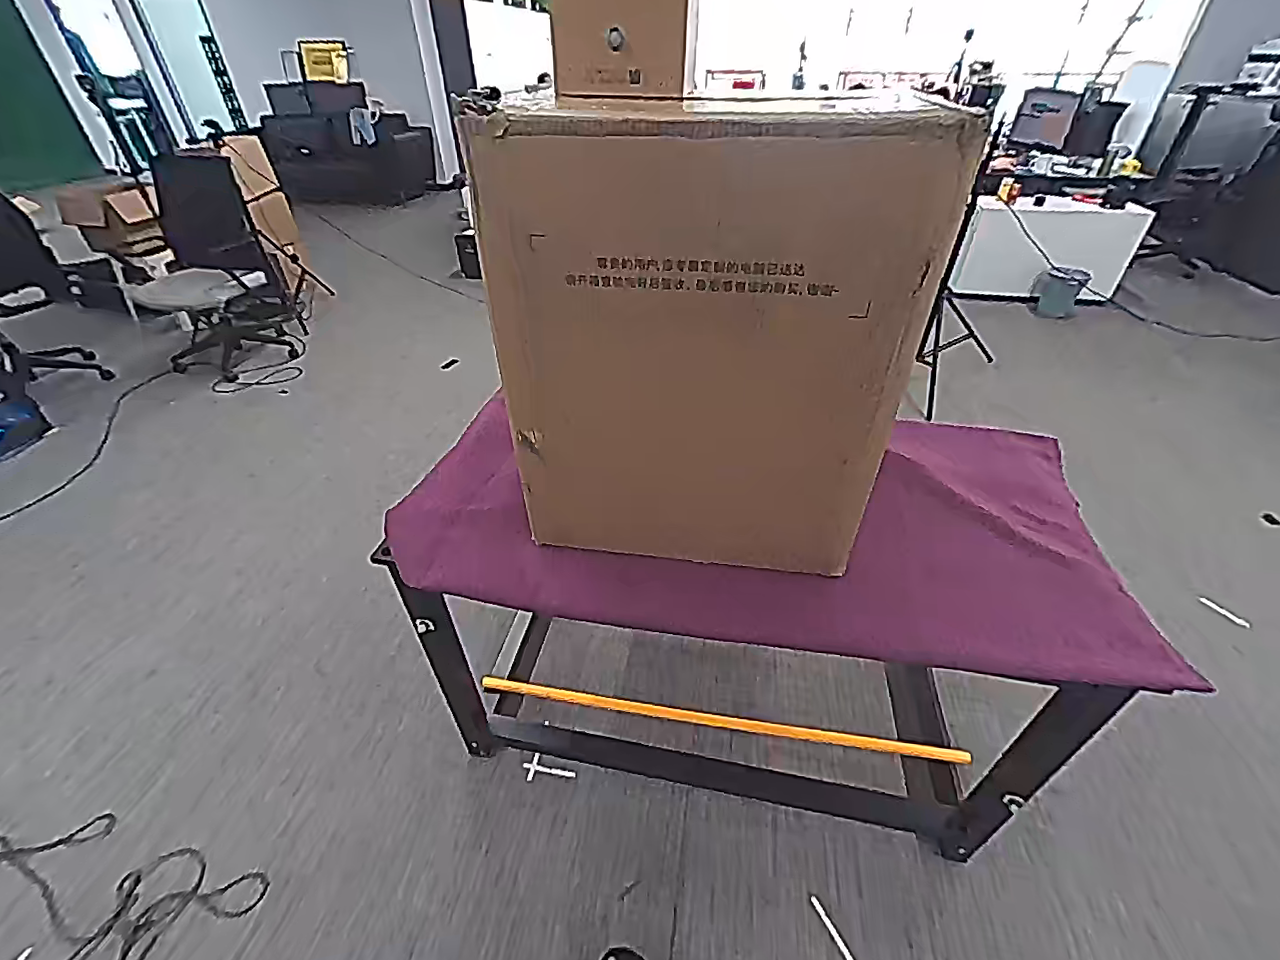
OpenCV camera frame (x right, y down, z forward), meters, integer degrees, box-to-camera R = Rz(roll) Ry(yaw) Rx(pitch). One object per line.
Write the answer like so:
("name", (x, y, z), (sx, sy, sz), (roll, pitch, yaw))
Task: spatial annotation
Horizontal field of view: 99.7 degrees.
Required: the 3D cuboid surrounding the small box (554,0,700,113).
("small box", (-0.013, -0.589, 0.704), (0.168, 0.176, 0.179), (5, 39, 7))
